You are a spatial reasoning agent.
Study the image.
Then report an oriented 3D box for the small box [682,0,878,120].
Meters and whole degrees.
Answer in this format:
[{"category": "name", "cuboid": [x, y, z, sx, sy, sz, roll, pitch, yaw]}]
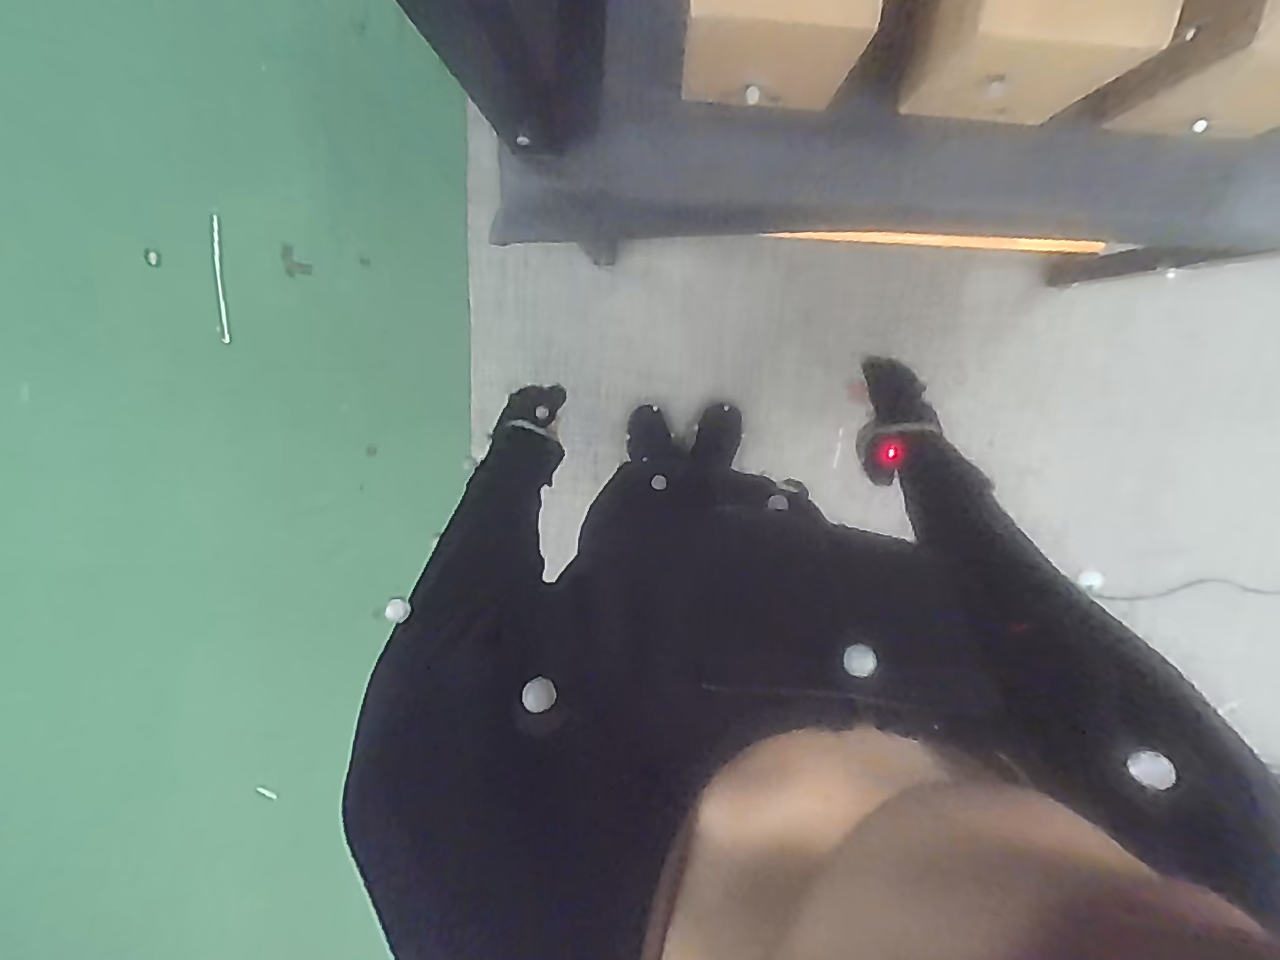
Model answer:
[{"category": "small box", "cuboid": [0.132, -0.493, 0.531, 0.168, 0.176, 0.179, 6, 104, 1]}]
